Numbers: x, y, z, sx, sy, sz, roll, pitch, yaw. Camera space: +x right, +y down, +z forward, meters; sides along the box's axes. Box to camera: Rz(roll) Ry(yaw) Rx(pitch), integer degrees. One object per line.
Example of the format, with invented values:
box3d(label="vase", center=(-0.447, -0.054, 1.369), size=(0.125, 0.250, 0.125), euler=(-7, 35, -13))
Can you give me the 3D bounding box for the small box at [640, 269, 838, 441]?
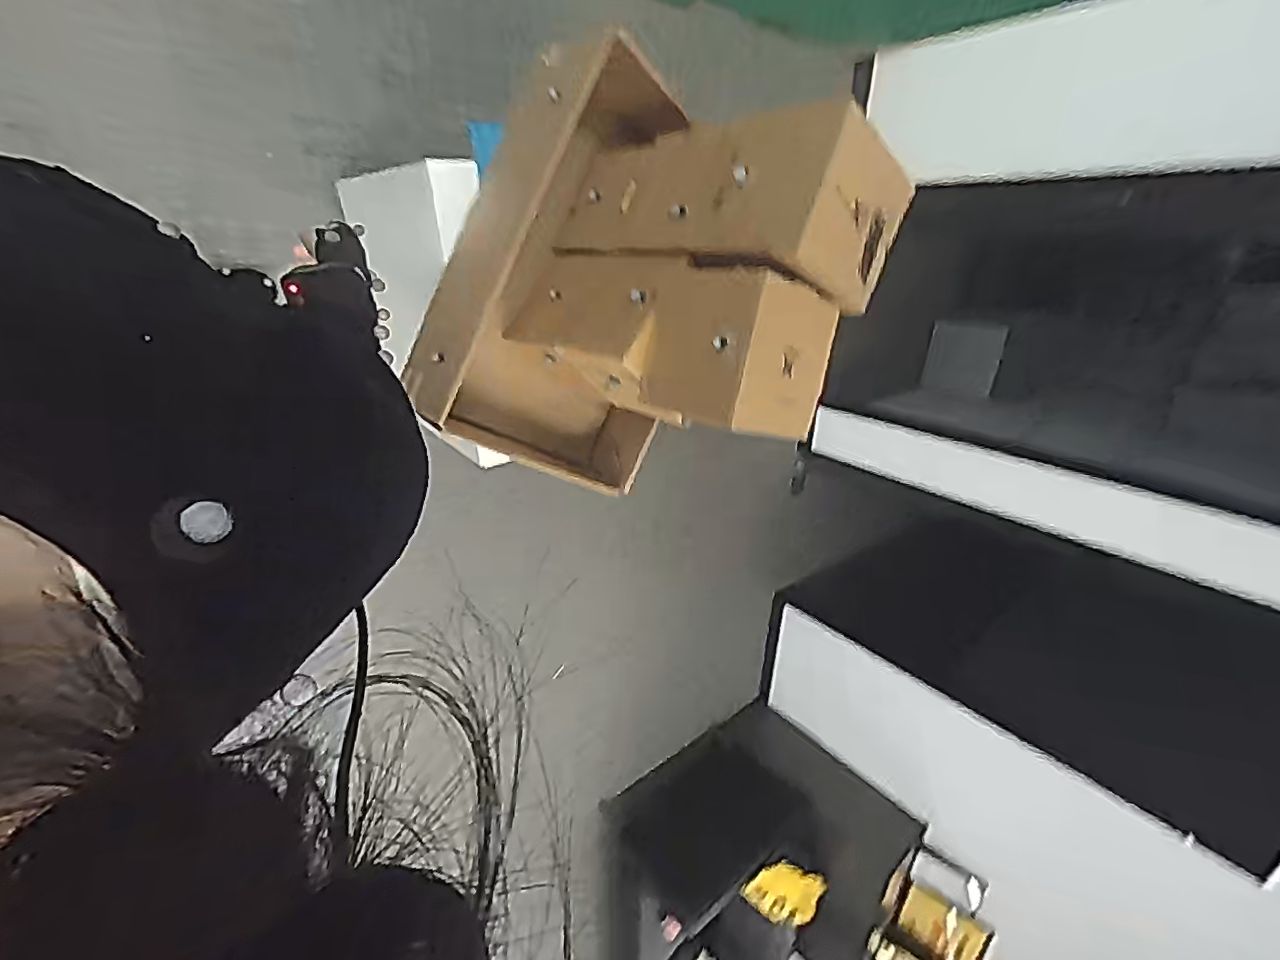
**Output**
box3d(label="small box", center=(0.121, -0.158, 0.695), size=(0.168, 0.176, 0.179), euler=(3, 104, -43))
